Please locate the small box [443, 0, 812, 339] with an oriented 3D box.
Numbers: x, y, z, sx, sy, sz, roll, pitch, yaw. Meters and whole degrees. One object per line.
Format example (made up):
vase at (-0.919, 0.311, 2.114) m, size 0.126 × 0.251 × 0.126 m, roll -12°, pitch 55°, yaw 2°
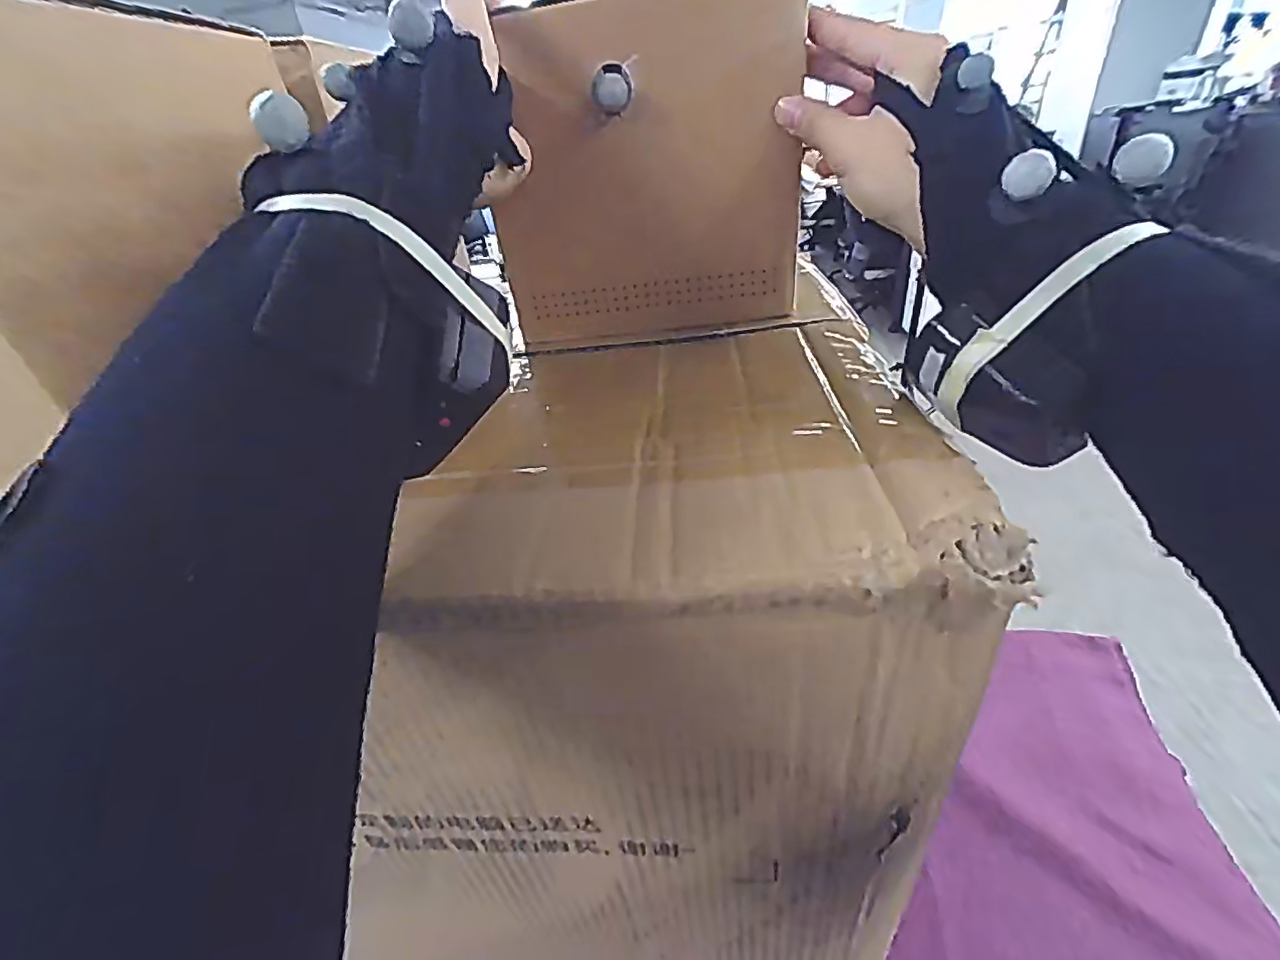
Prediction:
small box at (0.007, -0.207, 0.357) m, size 0.179 × 0.176 × 0.168 m, roll -5°, pitch 36°, yaw 8°
